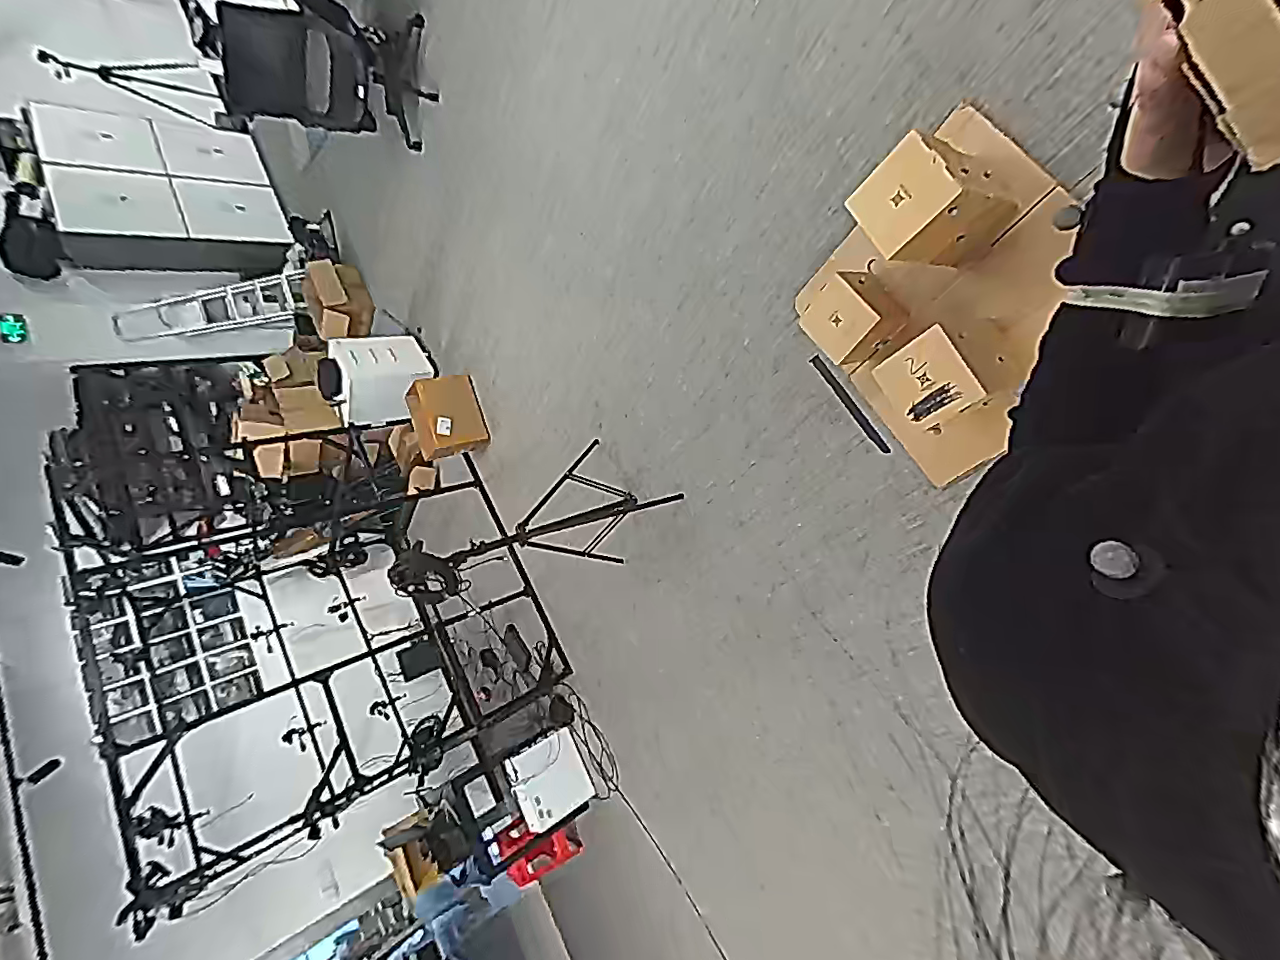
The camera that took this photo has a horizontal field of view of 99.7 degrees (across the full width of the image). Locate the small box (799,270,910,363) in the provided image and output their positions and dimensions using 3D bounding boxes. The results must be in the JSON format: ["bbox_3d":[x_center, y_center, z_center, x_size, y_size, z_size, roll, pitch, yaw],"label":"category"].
[{"bbox_3d":[0.568,-0.433,1.435,0.179,0.176,0.168,57,140,21],"label":"small box"}]

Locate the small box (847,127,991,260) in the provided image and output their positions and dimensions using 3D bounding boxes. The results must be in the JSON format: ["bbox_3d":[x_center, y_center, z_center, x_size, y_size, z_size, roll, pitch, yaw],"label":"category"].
[{"bbox_3d":[0.575,-0.578,1.116,0.179,0.176,0.168,-43,70,47],"label":"small box"}]

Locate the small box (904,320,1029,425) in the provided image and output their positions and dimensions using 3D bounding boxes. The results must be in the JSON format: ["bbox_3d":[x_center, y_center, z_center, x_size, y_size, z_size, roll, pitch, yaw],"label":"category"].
[{"bbox_3d":[0.764,-0.254,1.263,0.168,0.176,0.179,-36,76,49],"label":"small box"}]
